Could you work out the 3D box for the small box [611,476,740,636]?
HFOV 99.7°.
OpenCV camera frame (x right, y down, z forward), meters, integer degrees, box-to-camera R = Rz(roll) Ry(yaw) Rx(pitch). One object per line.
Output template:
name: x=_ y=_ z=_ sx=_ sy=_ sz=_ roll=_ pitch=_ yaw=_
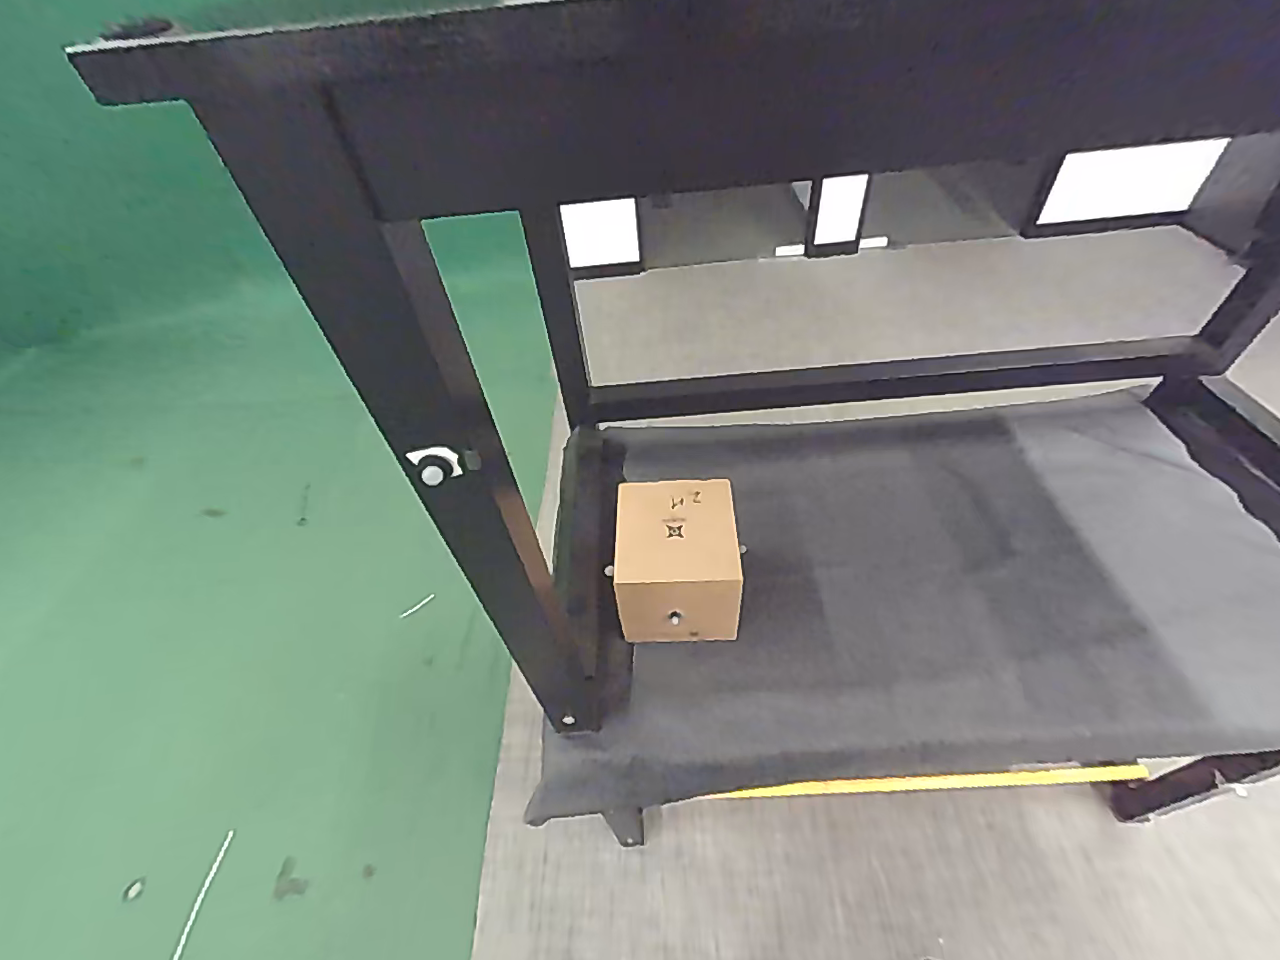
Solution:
small box: x=0.054 y=0.115 z=0.789 sx=0.168 sy=0.176 sz=0.179 roll=-2 pitch=47 yaw=4
